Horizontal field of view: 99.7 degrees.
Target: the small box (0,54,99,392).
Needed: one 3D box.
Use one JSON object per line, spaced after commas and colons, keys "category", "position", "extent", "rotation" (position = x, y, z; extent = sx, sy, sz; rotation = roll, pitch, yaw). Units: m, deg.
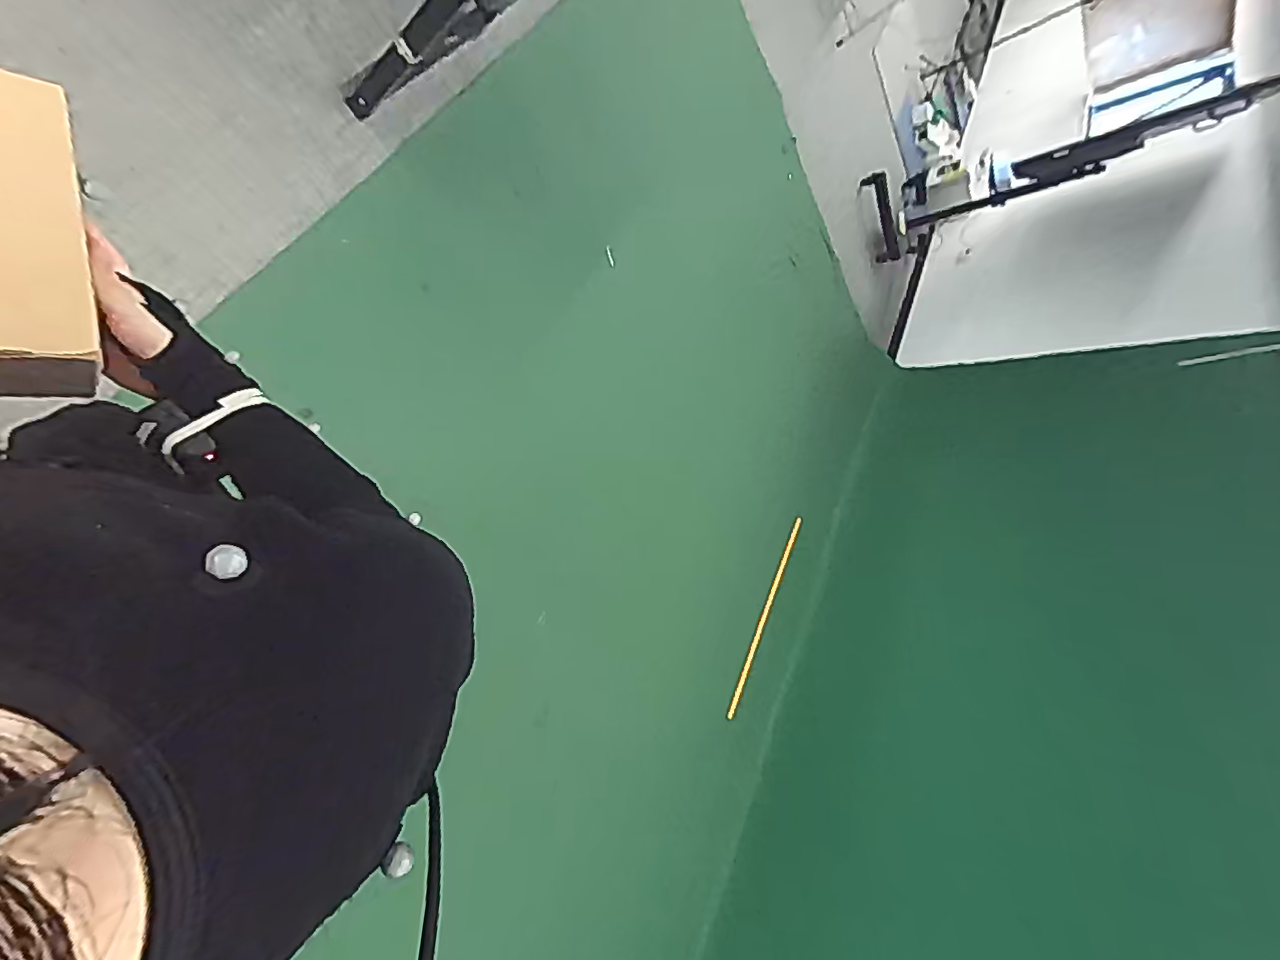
{"category": "small box", "position": [-0.465, -0.157, 0.333], "extent": [0.168, 0.176, 0.179], "rotation": [-7, 93, -49]}
